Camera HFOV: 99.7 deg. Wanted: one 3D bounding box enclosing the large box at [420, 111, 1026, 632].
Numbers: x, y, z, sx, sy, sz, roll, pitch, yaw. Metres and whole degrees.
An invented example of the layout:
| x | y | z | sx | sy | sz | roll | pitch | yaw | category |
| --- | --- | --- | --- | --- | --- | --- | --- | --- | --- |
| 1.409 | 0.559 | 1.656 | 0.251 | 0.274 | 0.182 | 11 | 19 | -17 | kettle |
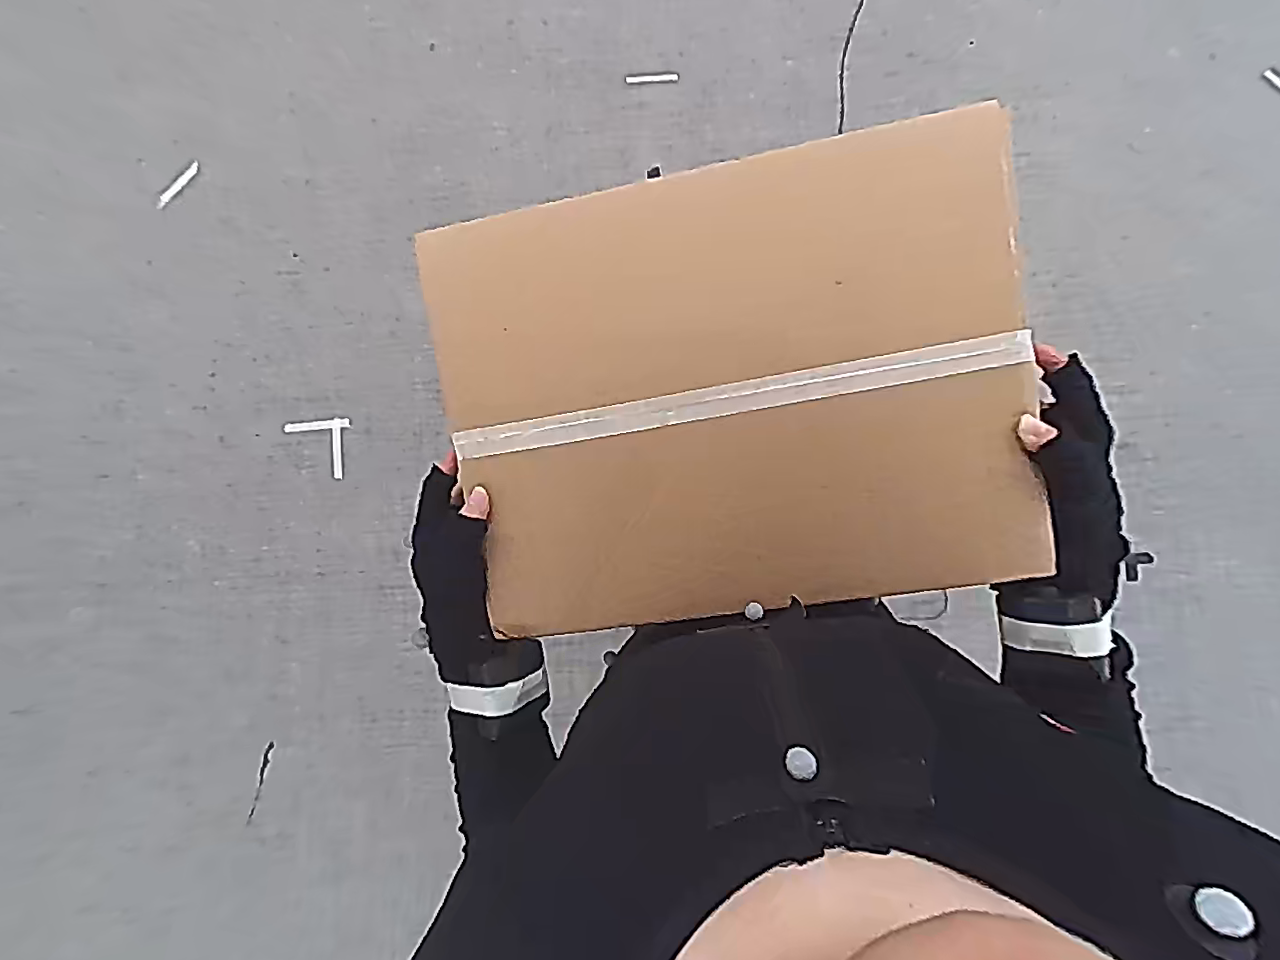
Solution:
| x | y | z | sx | sy | sz | roll | pitch | yaw | category |
| --- | --- | --- | --- | --- | --- | --- | --- | --- | --- |
| 0.072 | -0.078 | 0.538 | 0.408 | 0.320 | 0.320 | -9 | 95 | 8 | large box |
